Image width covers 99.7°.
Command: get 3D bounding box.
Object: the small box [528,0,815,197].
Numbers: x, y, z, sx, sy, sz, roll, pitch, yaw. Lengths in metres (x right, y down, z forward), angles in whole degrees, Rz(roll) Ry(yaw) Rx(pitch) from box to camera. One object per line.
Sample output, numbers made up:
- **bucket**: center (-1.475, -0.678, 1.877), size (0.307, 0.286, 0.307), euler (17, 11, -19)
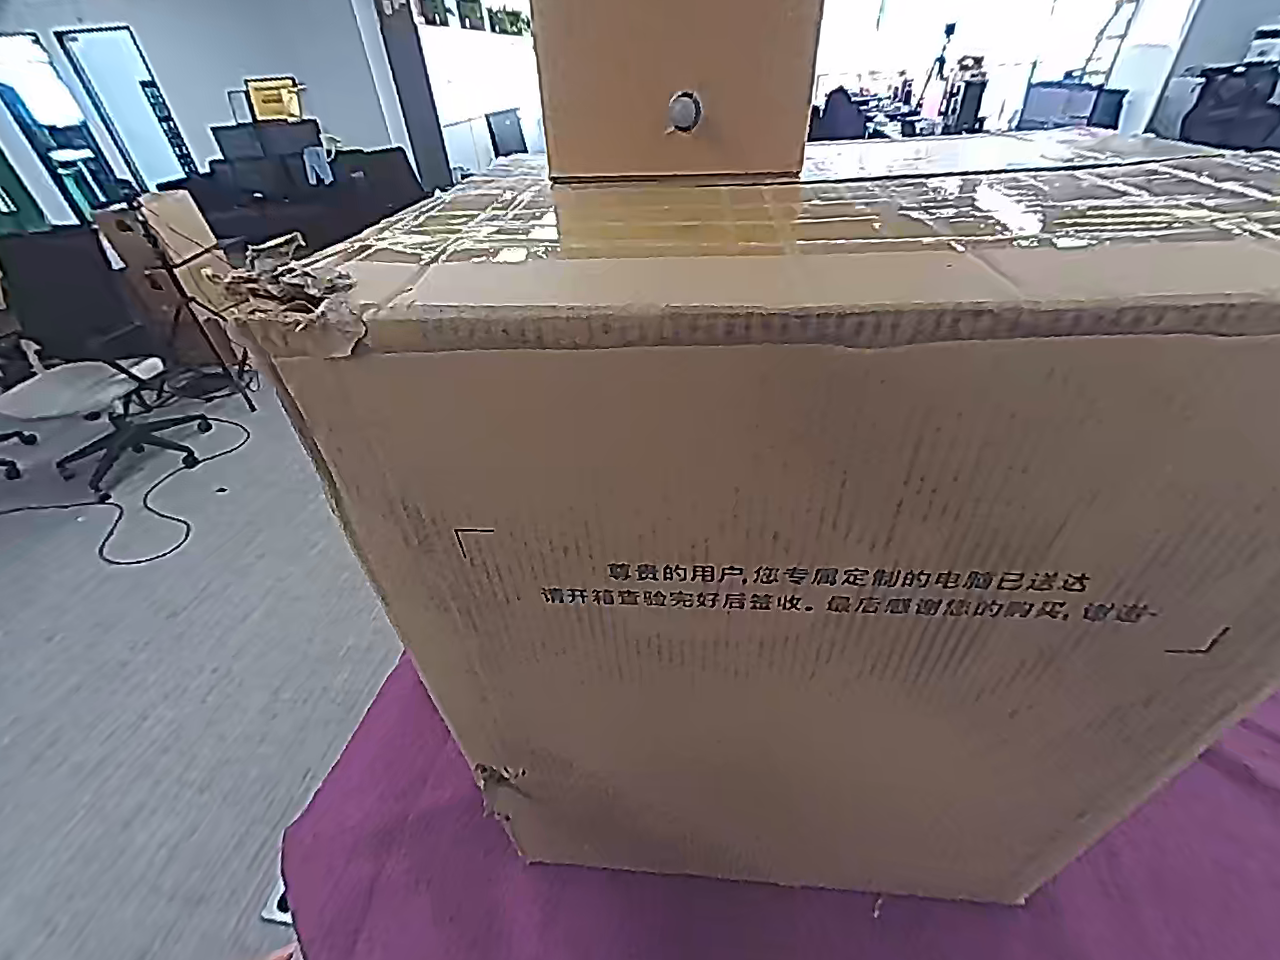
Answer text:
- **small box**: center (0.023, -0.313, 0.390), size (0.179, 0.176, 0.168), euler (2, 38, 7)
